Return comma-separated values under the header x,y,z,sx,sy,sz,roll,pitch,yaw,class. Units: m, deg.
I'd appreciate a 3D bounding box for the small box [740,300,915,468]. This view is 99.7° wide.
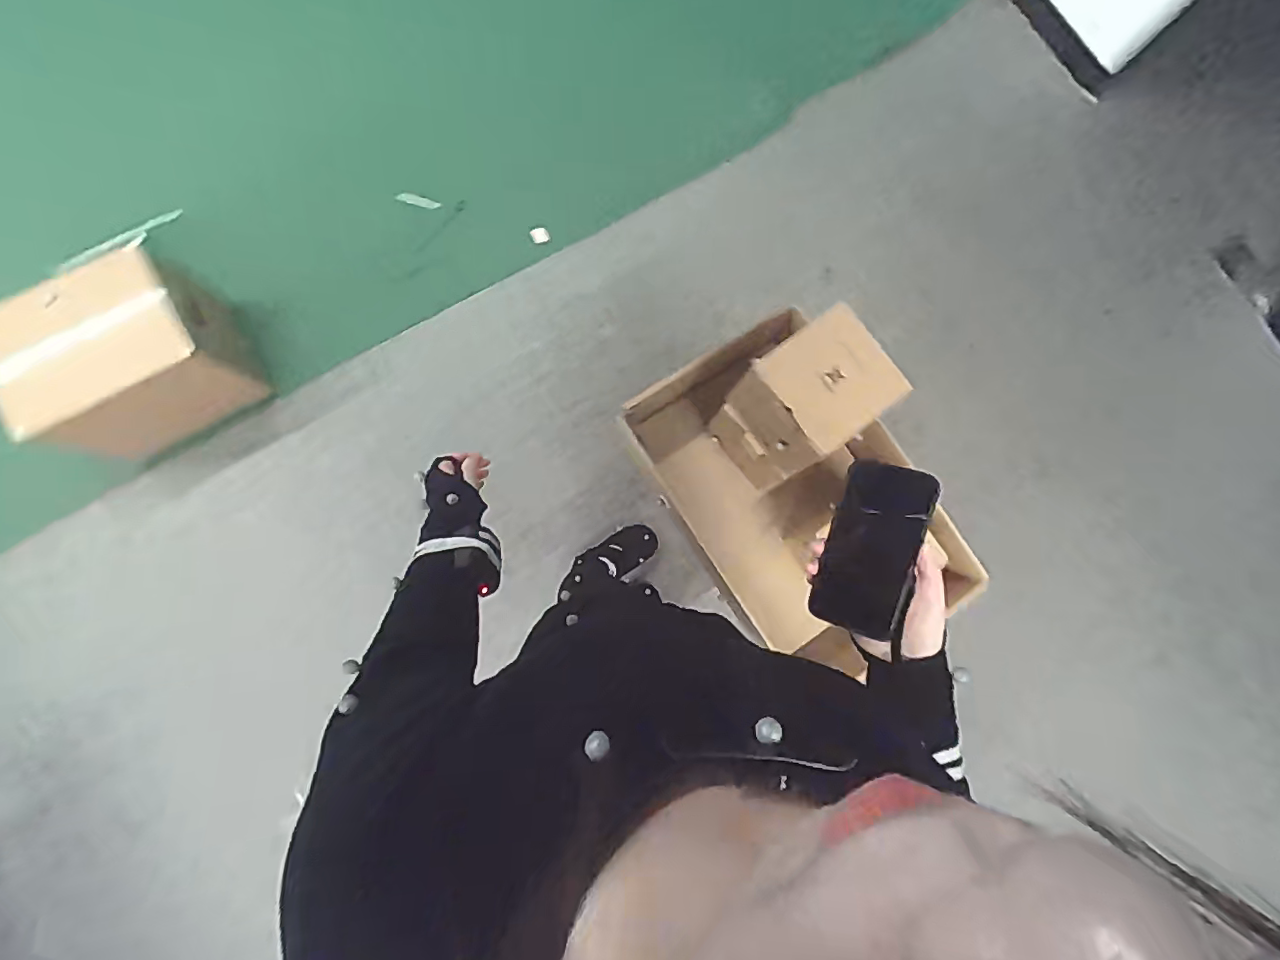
x,y,z,sx,sy,sz,roll,pitch,yaw,class
0.274,-0.137,0.844,0.179,0.176,0.168,-35,86,-7,small box
